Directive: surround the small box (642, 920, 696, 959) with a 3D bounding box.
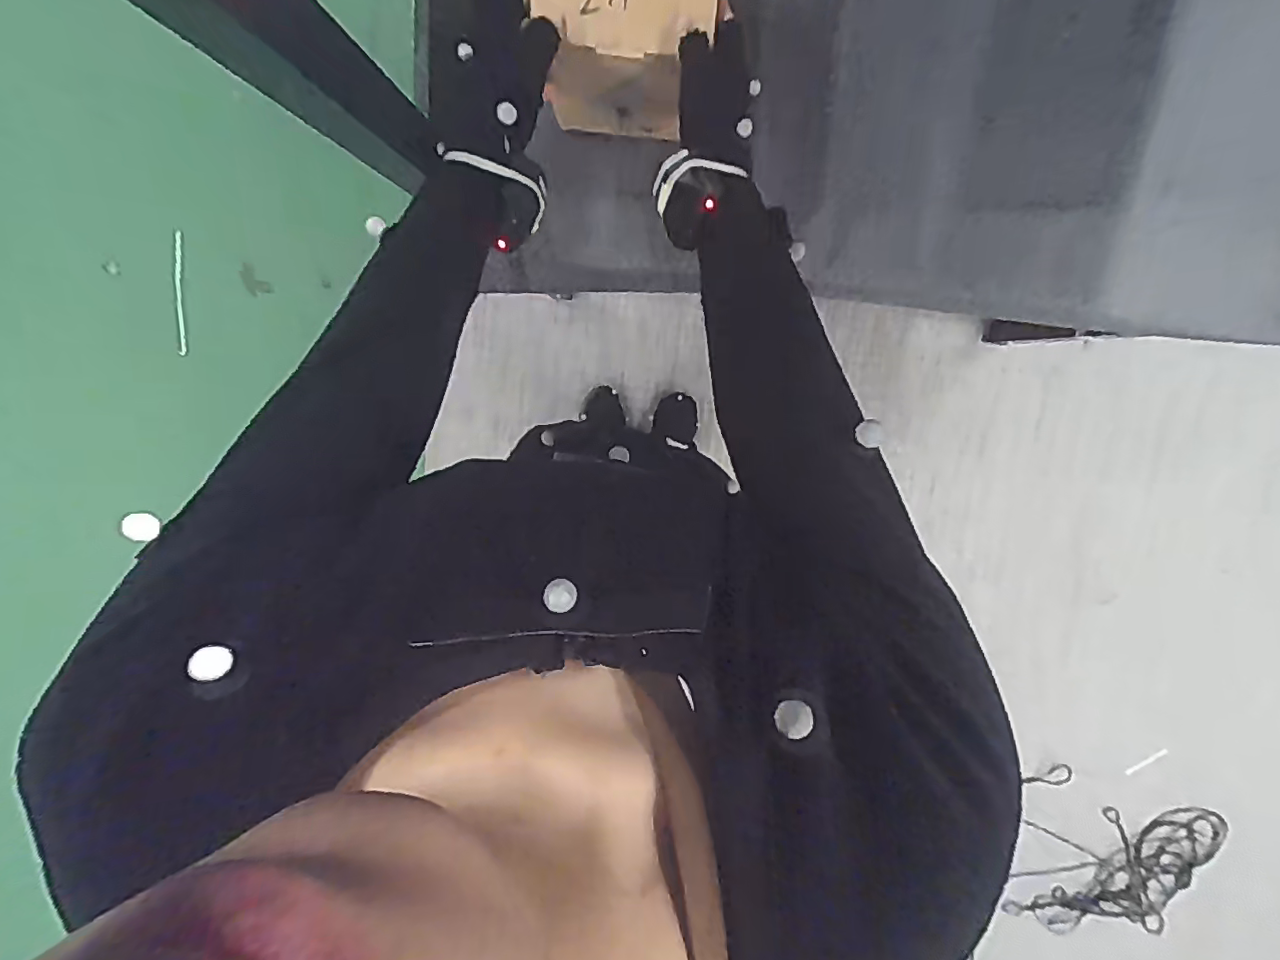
[{"bbox_3d":[0.090,1.552,1.711,0.168,0.176,0.179,3,101,1],"label":"small box"}]

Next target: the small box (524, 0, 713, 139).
[{"bbox_3d":[-0.011,-0.481,0.542,0.168,0.176,0.179,6,100,1],"label":"small box"}]
